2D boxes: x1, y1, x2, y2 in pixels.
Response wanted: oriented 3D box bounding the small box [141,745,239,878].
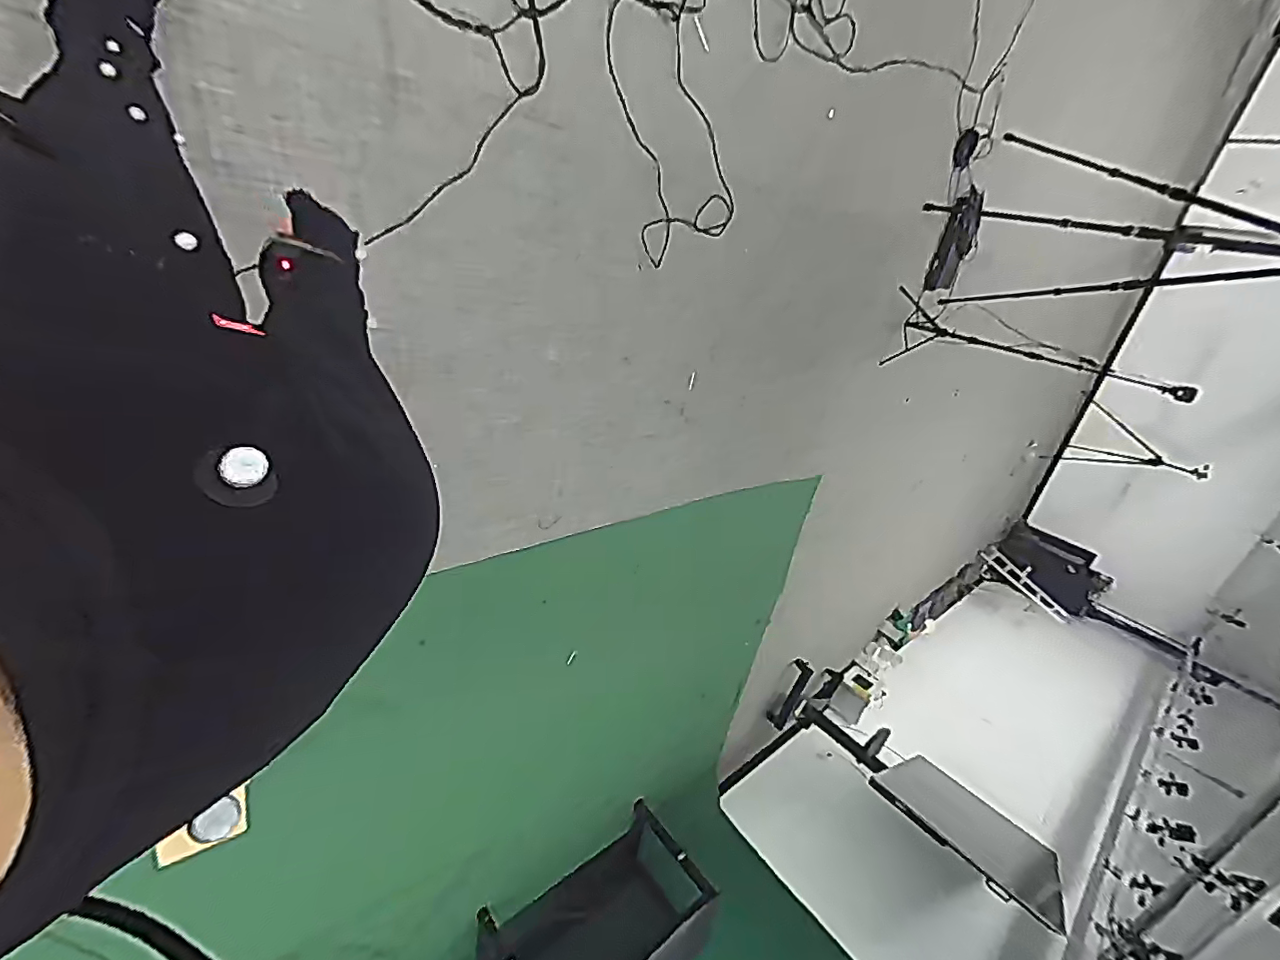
[{"bbox_3d":[-1.067,0.777,1.285,0.168,0.176,0.179,-7,119,-43],"label":"small box"}]
